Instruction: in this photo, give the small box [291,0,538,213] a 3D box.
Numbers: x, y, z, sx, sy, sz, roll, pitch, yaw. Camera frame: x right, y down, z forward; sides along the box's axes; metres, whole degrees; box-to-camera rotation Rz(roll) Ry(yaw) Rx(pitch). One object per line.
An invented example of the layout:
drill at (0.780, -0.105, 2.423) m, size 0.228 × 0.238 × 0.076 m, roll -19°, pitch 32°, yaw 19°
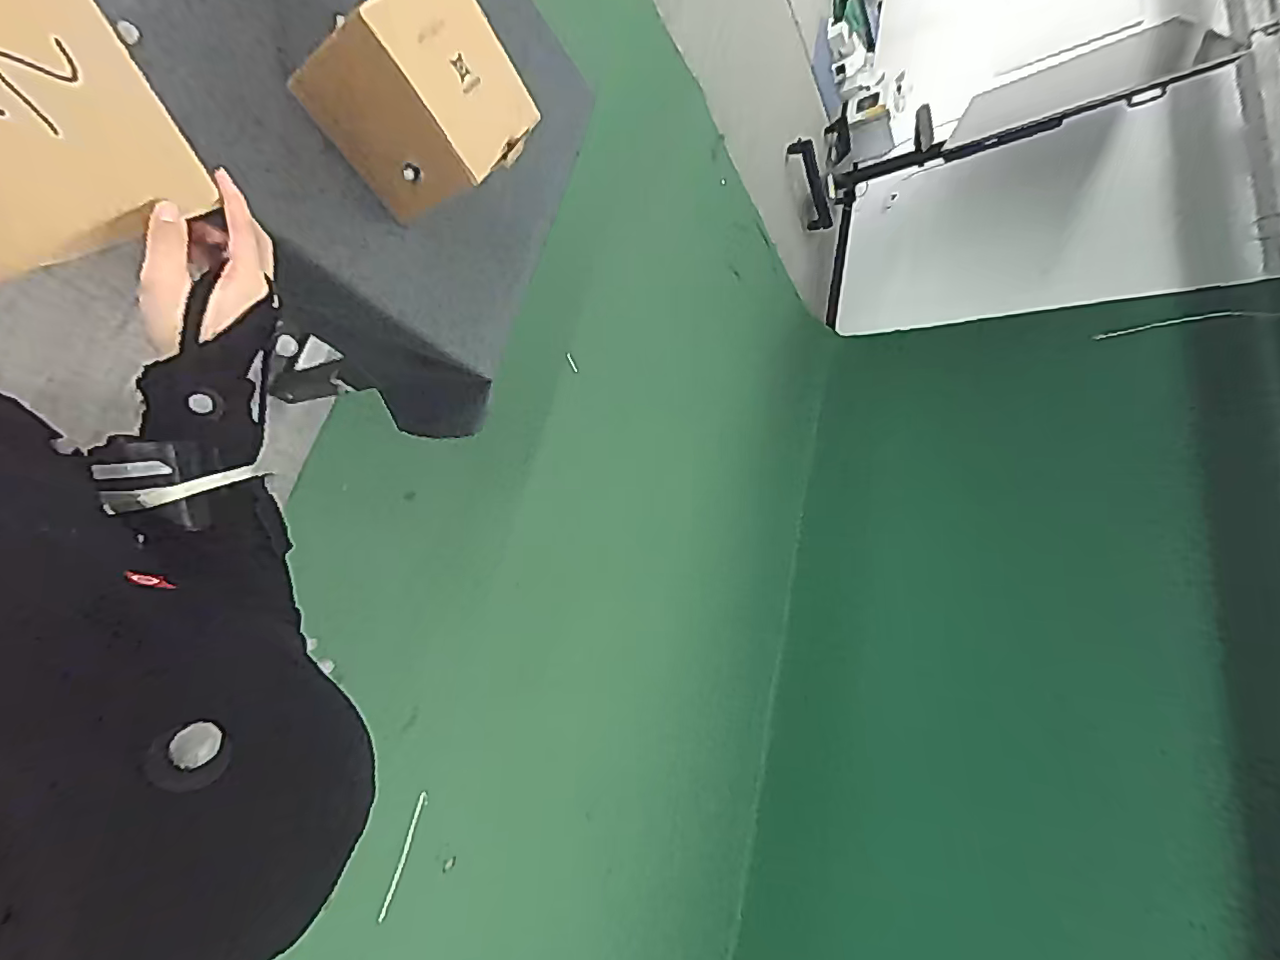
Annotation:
small box at (-0.264, -0.451, 0.651) m, size 0.179 × 0.176 × 0.168 m, roll 51°, pitch 50°, yaw -40°
